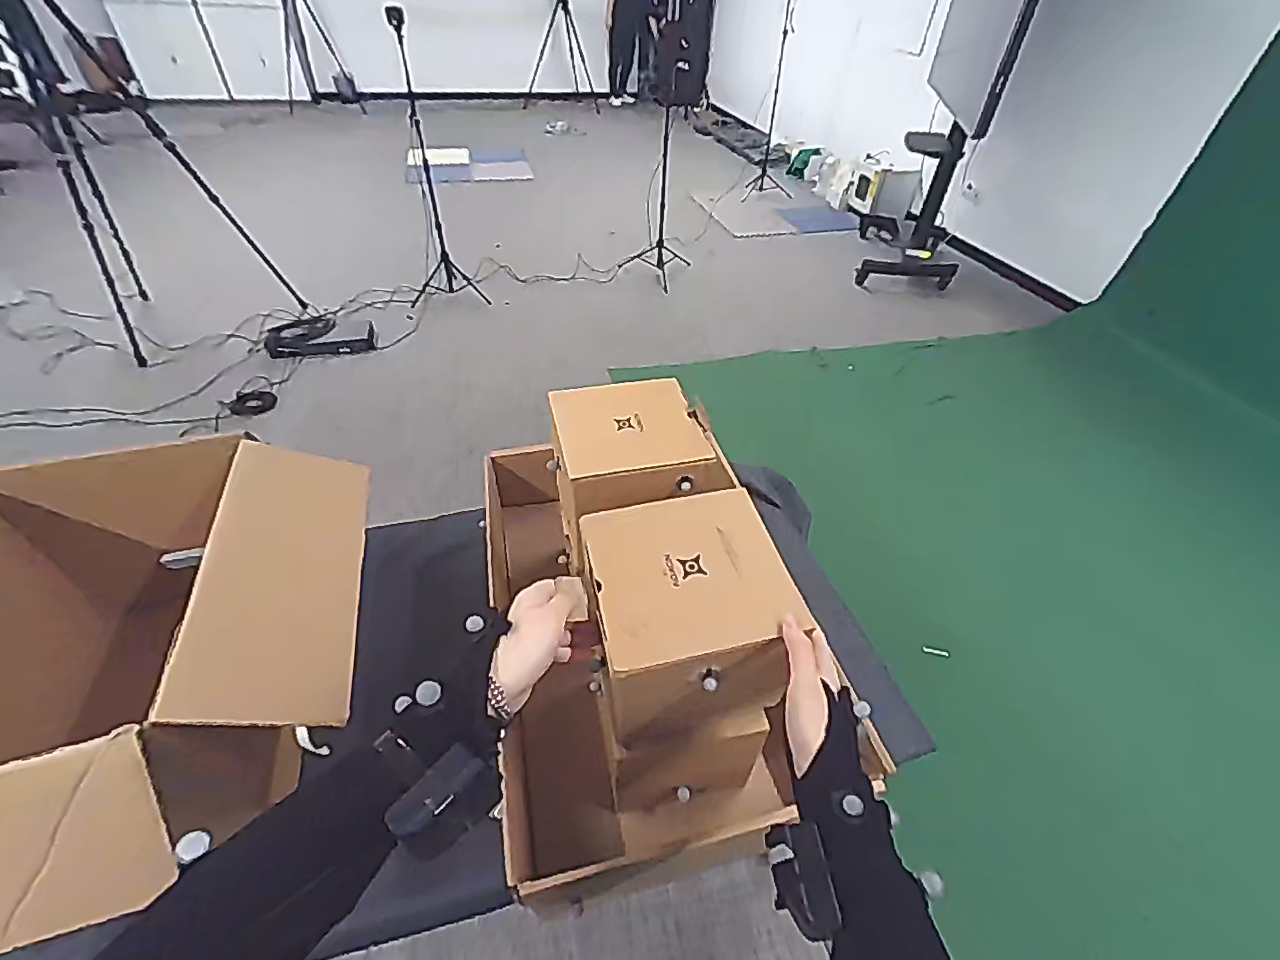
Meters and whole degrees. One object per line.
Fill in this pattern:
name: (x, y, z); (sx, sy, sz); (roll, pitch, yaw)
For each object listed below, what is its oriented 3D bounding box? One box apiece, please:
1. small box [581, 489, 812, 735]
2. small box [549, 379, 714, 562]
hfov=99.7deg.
small box: (0.044, 0.136, 0.550); (0.179, 0.176, 0.168); (-10, 48, -11)
small box: (-0.018, -0.011, 0.717); (0.179, 0.176, 0.168); (-9, 47, -12)
